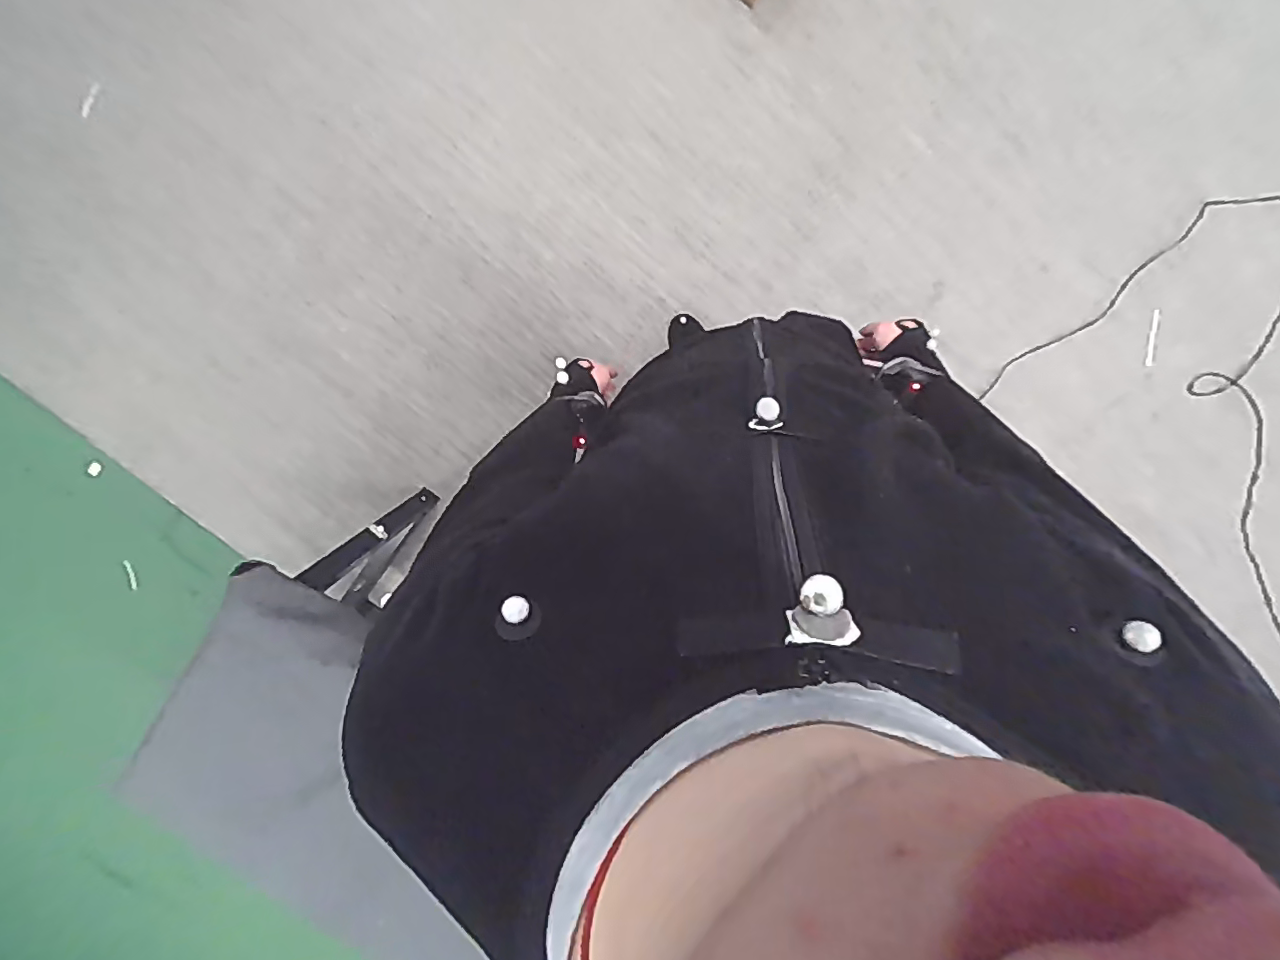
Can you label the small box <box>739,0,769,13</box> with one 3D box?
[{"bbox_3d":[0.260,-1.165,1.148,0.168,0.176,0.179,-36,102,15],"label":"small box"}]
